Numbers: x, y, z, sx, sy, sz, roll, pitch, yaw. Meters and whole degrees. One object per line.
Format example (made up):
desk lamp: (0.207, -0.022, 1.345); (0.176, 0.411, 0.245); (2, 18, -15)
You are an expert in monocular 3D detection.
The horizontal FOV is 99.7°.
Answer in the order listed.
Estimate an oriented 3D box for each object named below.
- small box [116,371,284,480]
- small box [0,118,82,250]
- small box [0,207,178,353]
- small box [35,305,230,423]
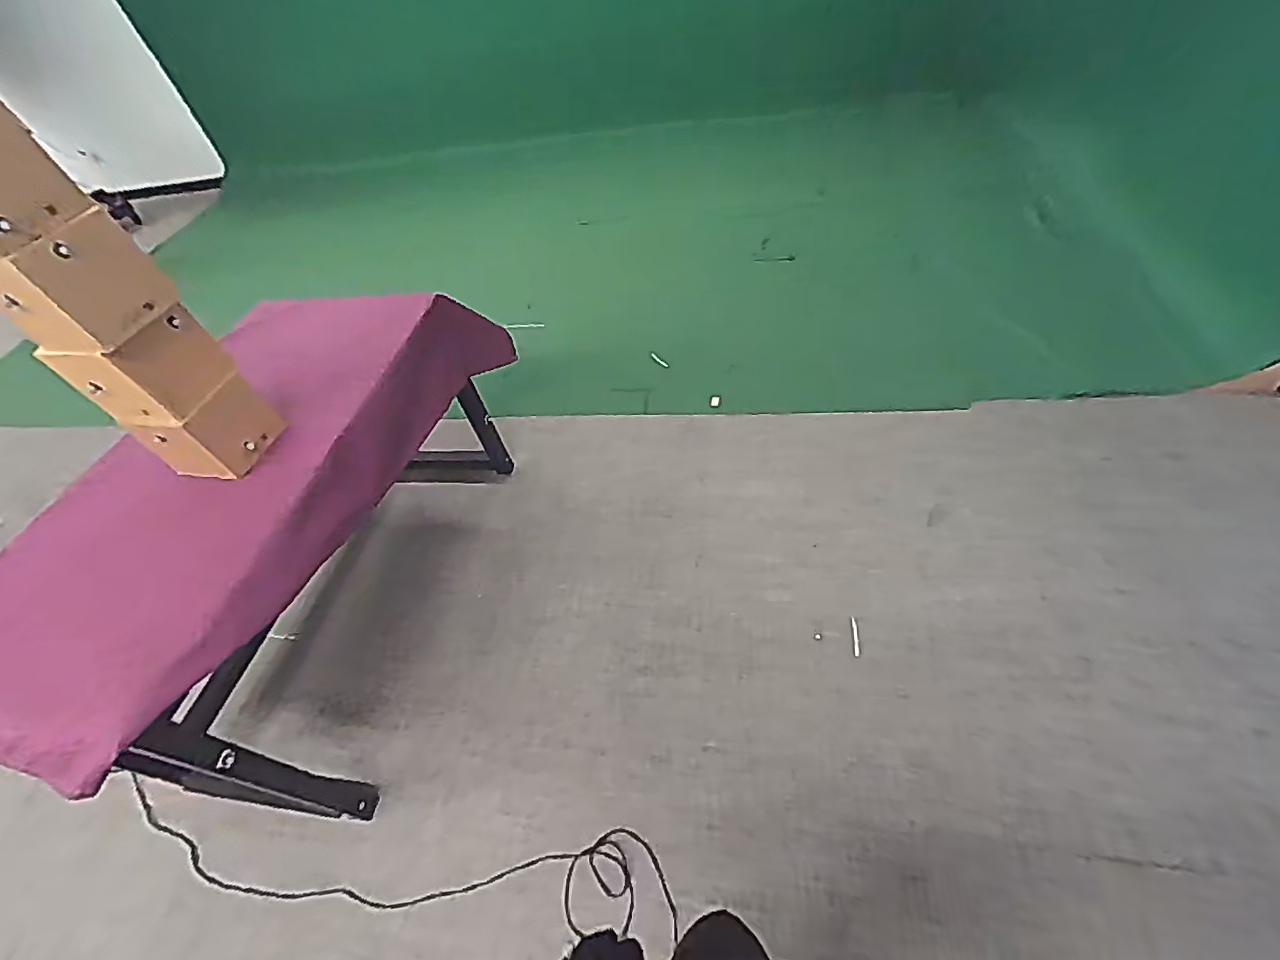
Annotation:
small box: (-0.915, -0.116, 1.142); (0.179, 0.176, 0.168); (5, 53, 15)
small box: (-0.984, -0.428, 0.771); (0.179, 0.176, 0.168); (2, 51, 14)
small box: (-0.943, -0.325, 0.894); (0.179, 0.176, 0.168); (5, 53, 17)
small box: (-0.940, -0.223, 1.024); (0.168, 0.176, 0.179); (4, 52, 14)
